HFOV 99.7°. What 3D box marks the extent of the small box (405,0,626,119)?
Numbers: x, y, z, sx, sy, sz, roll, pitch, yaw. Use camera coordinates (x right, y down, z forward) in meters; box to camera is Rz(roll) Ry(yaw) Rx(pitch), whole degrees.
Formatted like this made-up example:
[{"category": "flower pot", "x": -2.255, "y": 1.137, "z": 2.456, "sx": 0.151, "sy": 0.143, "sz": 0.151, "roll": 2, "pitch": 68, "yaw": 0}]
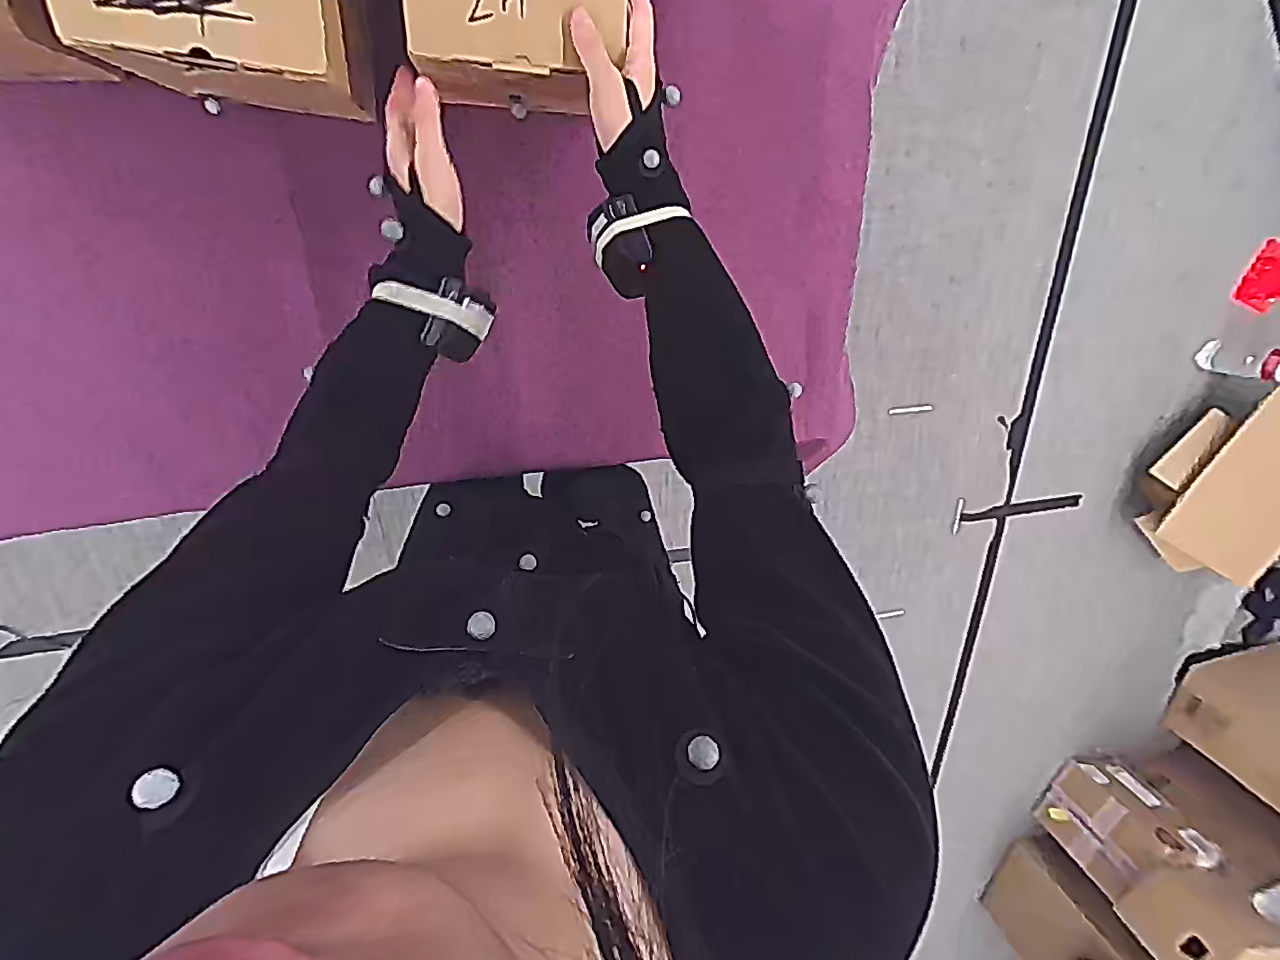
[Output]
[{"category": "small box", "x": -0.105, "y": -0.430, "z": 0.457, "sx": 0.168, "sy": 0.176, "sz": 0.179, "roll": -3, "pitch": 116, "yaw": -12}]
